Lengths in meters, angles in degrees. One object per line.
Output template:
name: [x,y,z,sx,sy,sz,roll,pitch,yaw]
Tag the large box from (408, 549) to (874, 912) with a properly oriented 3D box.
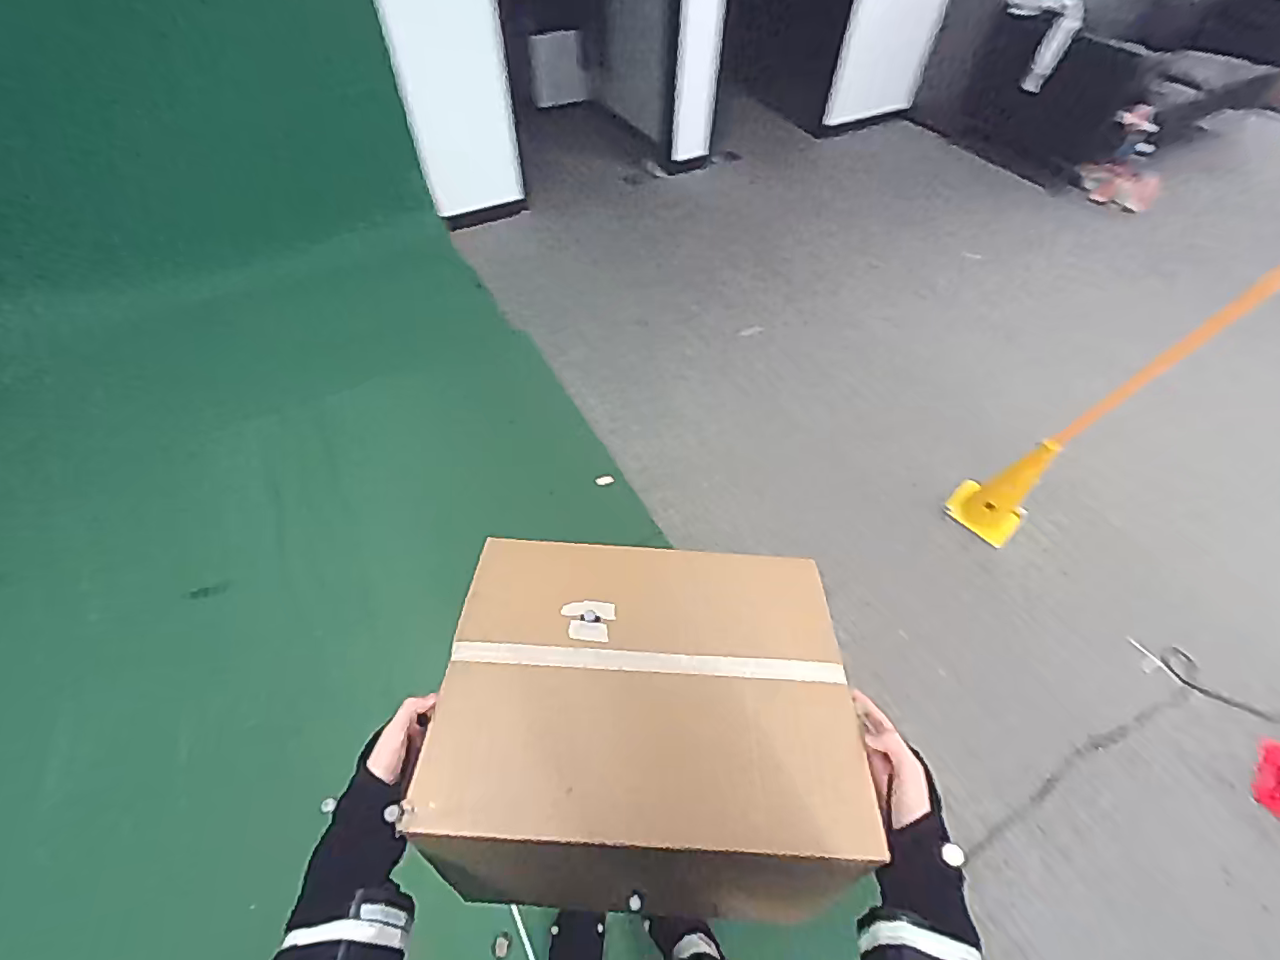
large box: [0.003,0.309,0.664,0.408,0.320,0.320,4,43,0]
